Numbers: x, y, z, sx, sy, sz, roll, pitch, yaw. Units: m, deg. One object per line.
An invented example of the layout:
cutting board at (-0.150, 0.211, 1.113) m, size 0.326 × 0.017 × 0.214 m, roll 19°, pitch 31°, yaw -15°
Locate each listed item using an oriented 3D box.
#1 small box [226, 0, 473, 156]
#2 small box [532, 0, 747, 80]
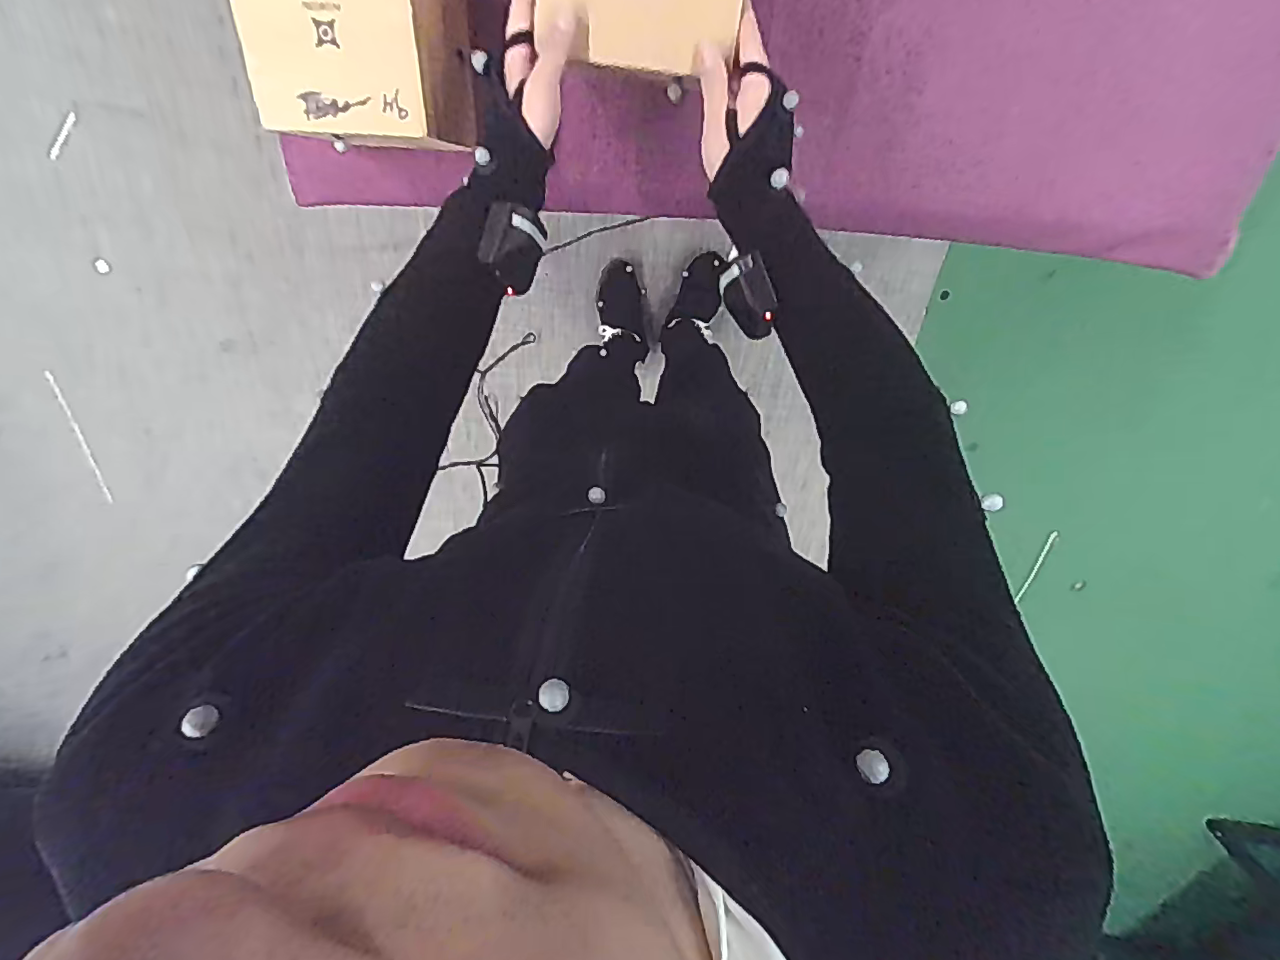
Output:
small box at (-0.281, -0.445, 0.553) m, size 0.168 × 0.176 × 0.179 m, roll 4°, pitch 118°, yaw 1°
small box at (0.003, -0.470, 0.484) m, size 0.179 × 0.176 × 0.168 m, roll 5°, pitch 124°, yaw -4°
